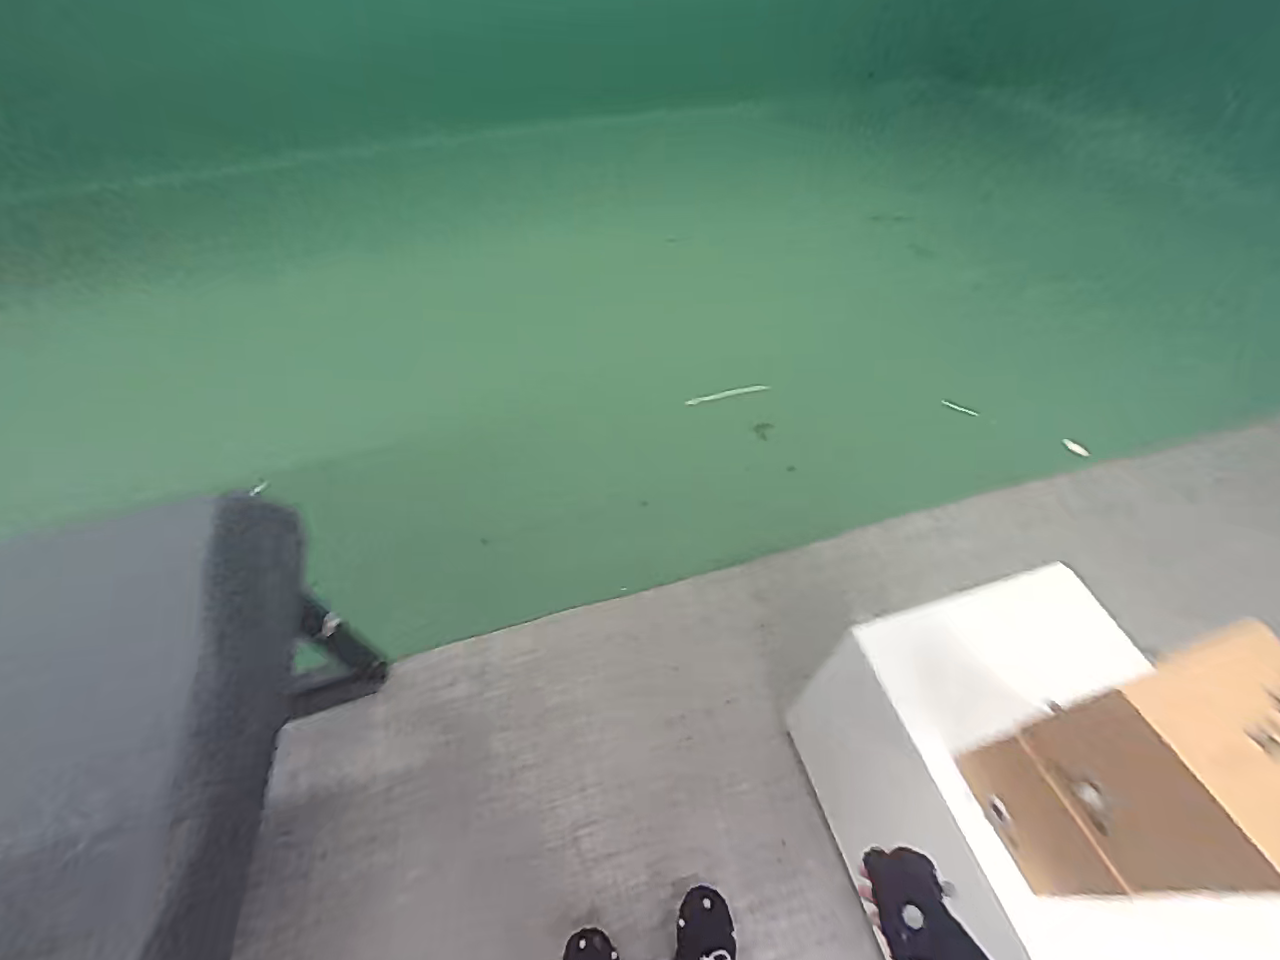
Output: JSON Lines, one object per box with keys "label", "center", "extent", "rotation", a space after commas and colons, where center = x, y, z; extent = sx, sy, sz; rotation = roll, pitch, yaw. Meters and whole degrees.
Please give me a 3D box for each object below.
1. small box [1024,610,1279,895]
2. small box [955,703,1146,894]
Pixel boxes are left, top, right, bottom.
{"label": "small box", "center": [0.521, 0.253, 0.507], "extent": [0.179, 0.176, 0.168], "rotation": [-19, 55, -13]}
{"label": "small box", "center": [0.521, 0.354, 0.636], "extent": [0.179, 0.176, 0.168], "rotation": [-18, 54, -9]}
